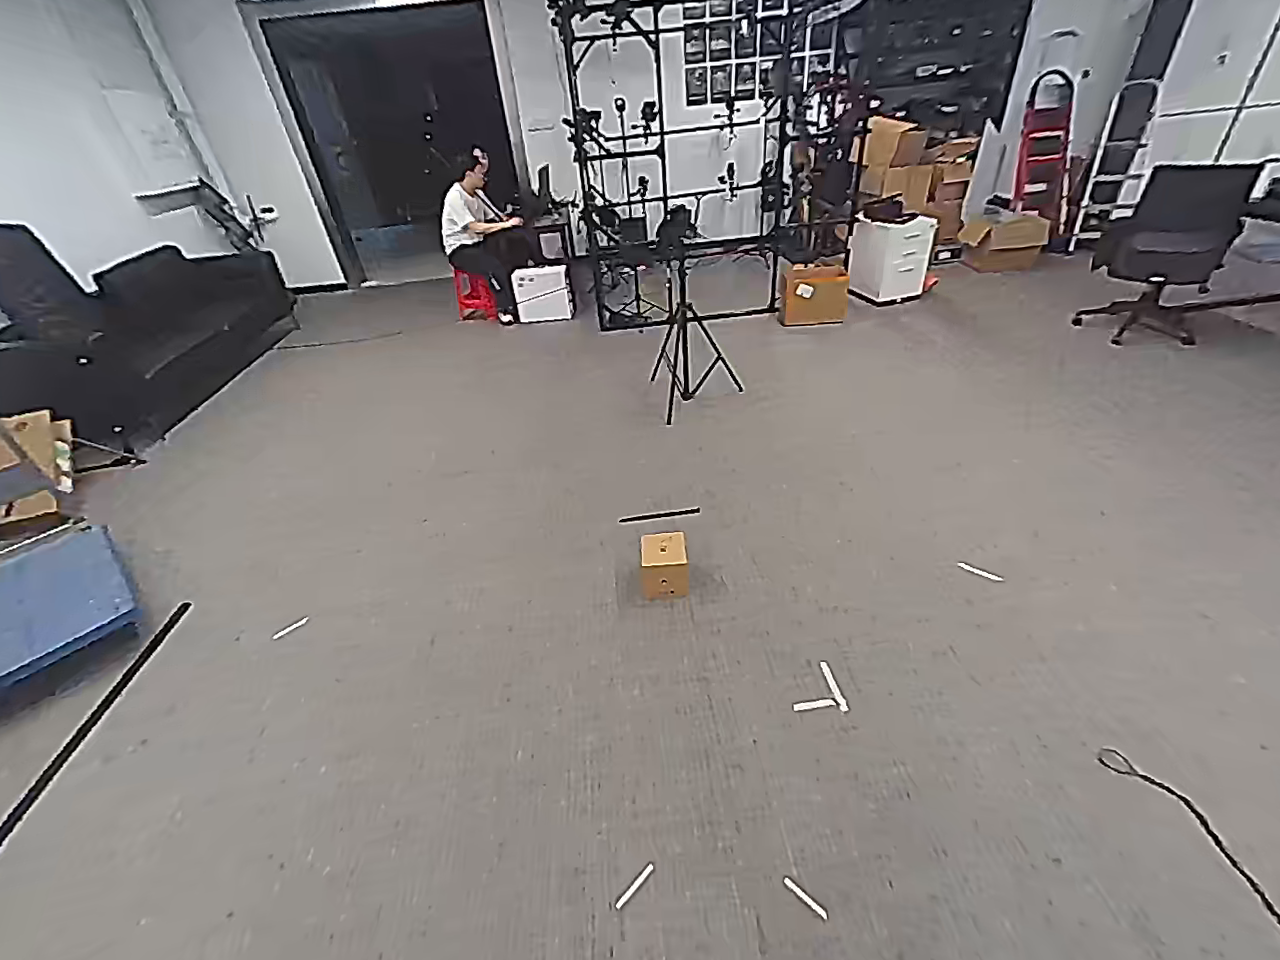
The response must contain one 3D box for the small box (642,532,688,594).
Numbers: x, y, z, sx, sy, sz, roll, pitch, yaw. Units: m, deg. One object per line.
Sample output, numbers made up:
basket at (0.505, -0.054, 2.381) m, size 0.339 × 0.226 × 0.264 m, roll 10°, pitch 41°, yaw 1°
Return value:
small box at (0.095, 0.323, 2.060) m, size 0.168 × 0.176 × 0.179 m, roll -4°, pitch 35°, yaw 2°
